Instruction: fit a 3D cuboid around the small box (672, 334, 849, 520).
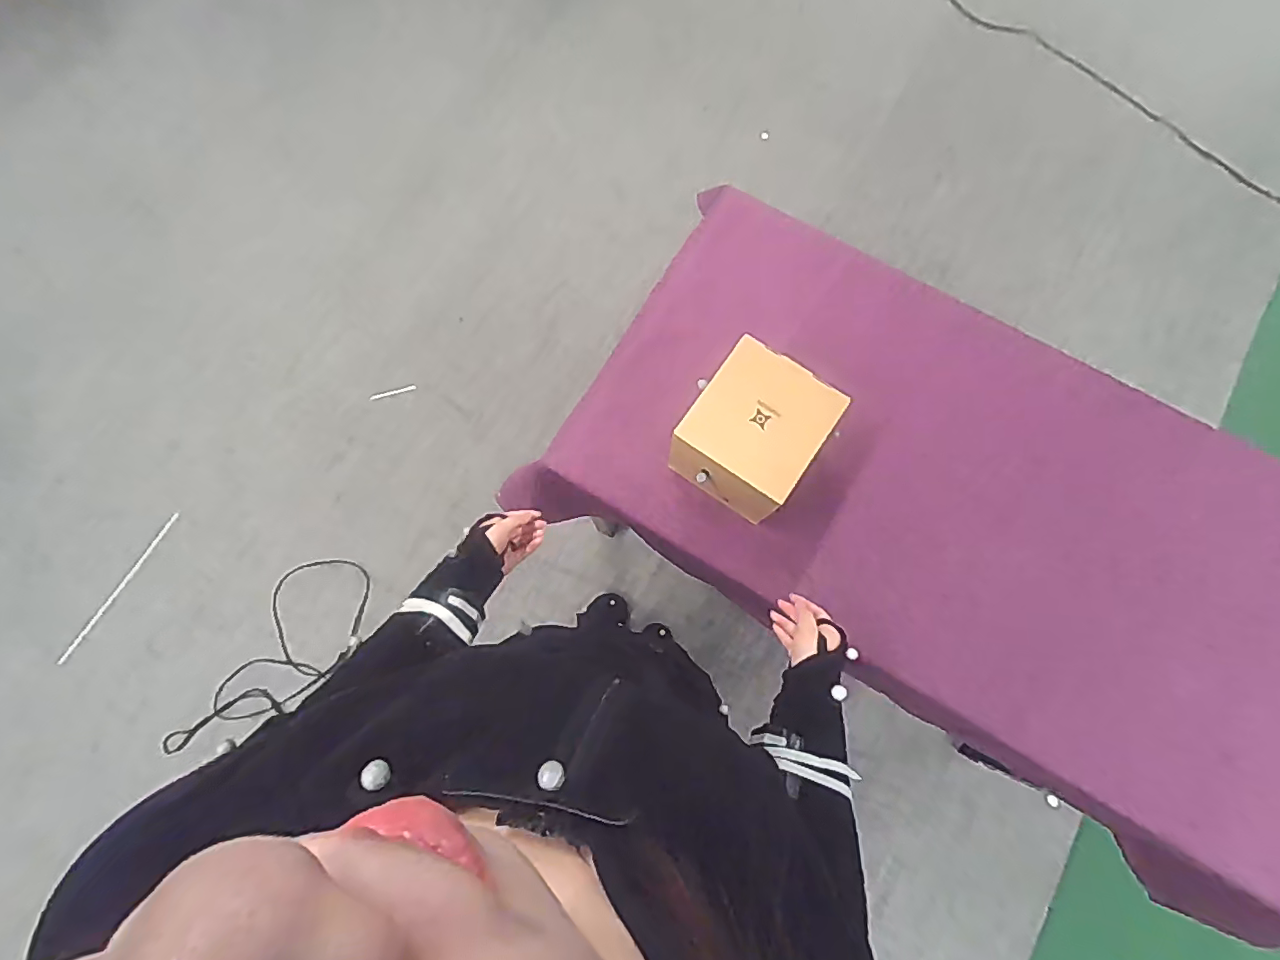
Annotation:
[{"bbox_3d":[0.159,-0.063,0.769,0.168,0.176,0.179,35,78,8],"label":"small box"}]
